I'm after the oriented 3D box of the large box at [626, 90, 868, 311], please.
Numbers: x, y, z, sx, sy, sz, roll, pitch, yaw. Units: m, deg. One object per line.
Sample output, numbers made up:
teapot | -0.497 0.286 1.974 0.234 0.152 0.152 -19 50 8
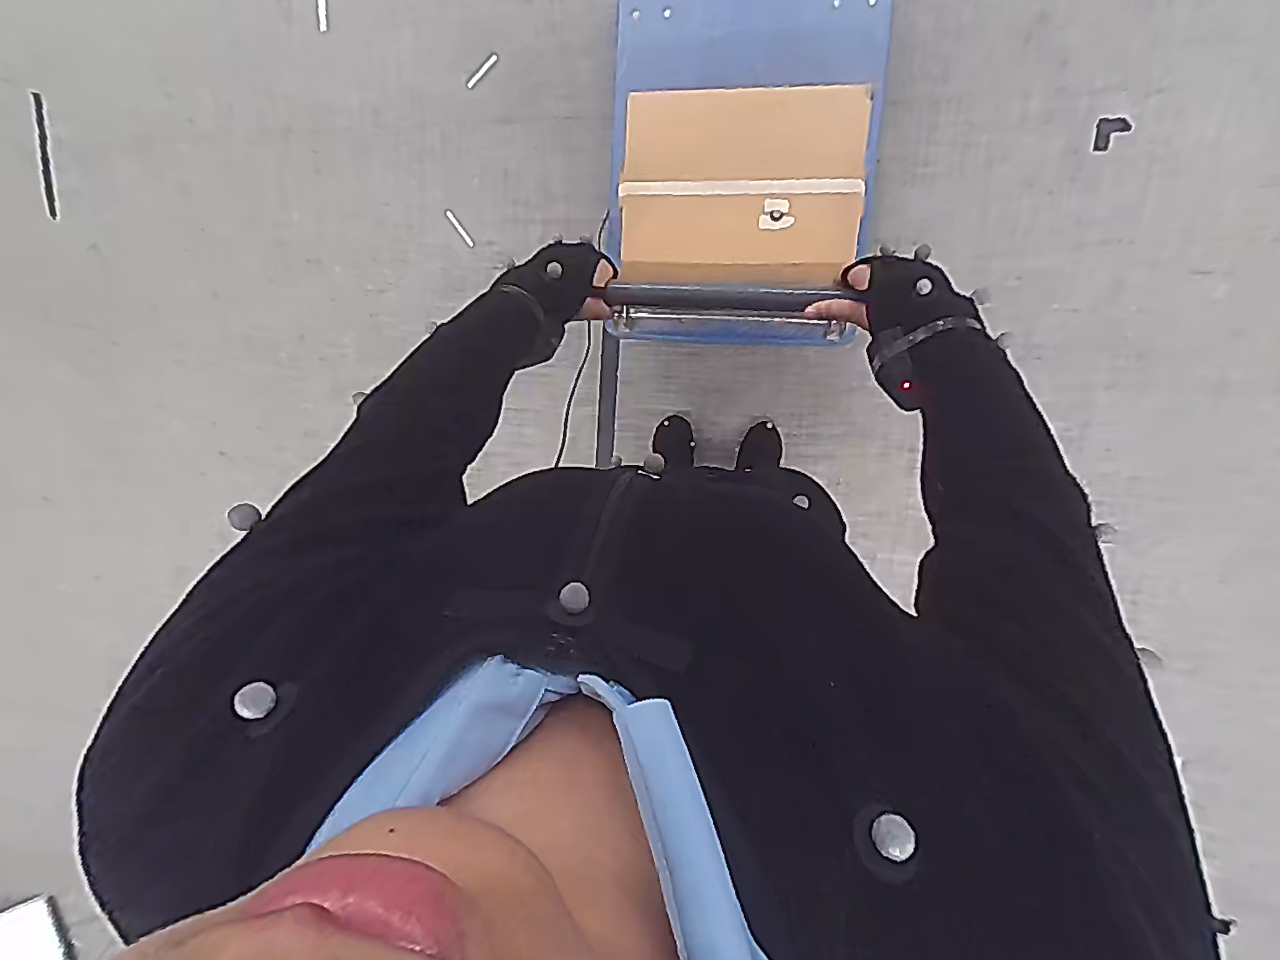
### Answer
large box | 0.196 -0.523 1.084 0.408 0.320 0.320 4 100 8
